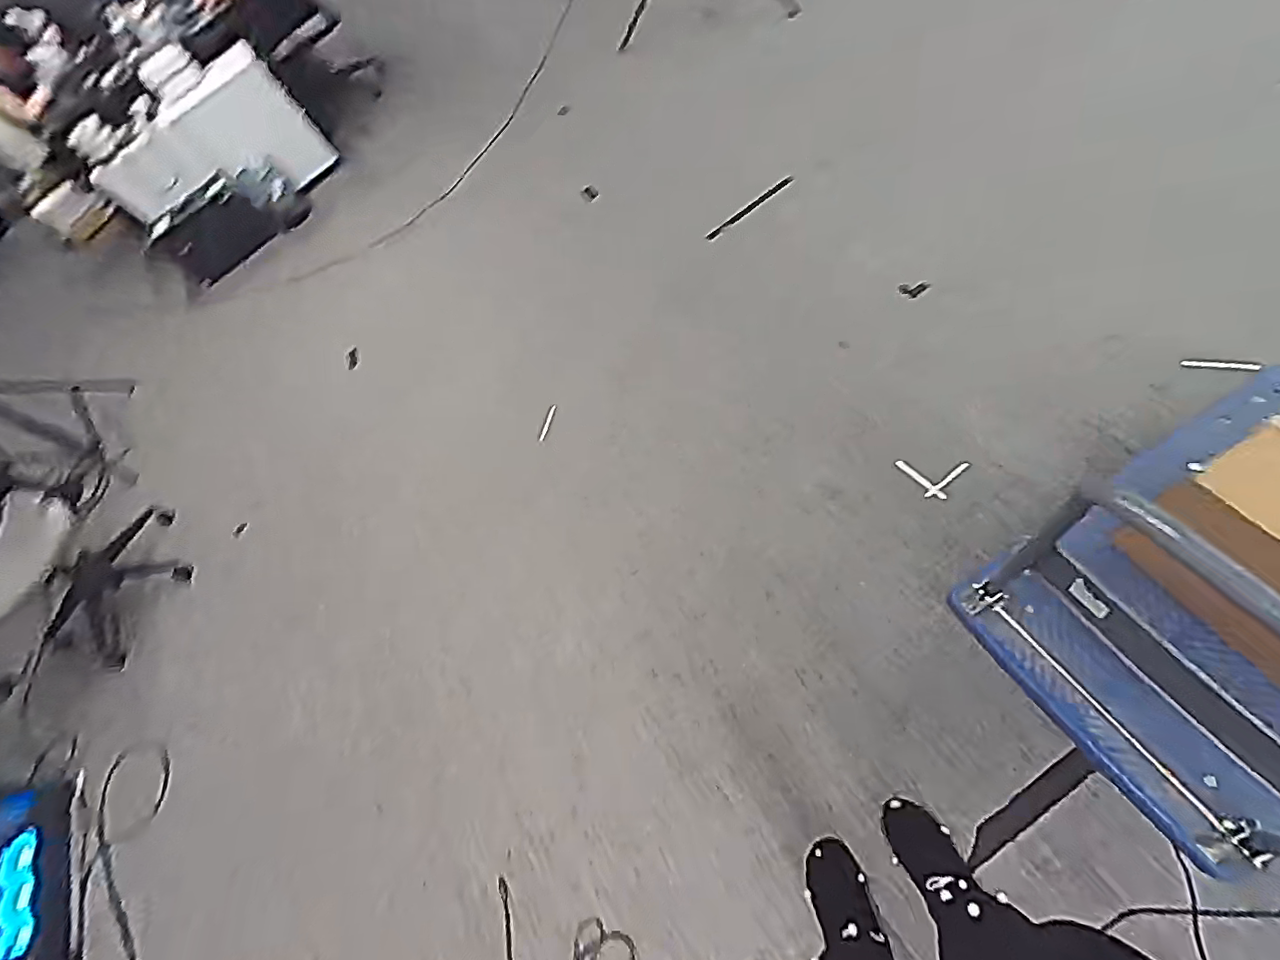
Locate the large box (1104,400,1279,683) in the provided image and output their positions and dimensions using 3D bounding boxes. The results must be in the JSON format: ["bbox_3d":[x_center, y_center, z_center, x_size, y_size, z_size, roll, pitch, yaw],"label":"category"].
[{"bbox_3d":[1.106,0.106,0.865,0.320,0.320,0.408,-34,57,0],"label":"large box"}]
